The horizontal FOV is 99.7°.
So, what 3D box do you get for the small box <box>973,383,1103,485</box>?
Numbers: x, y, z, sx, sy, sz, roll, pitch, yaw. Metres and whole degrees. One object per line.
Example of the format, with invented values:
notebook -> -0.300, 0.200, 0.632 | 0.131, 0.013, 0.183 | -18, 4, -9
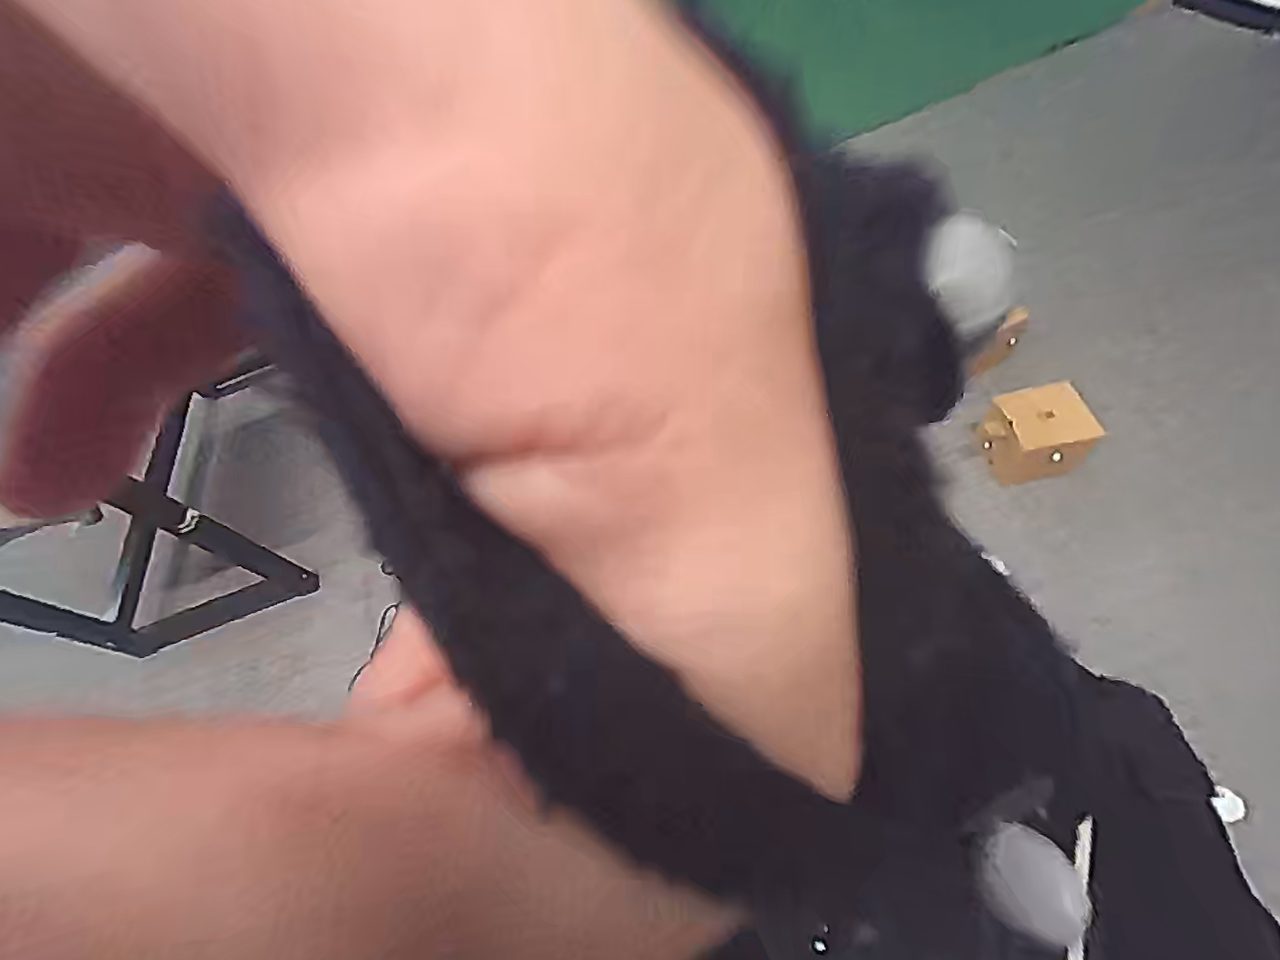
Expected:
small box -> 0.959, -0.108, 1.324 | 0.179, 0.176, 0.168 | -12, 57, 7
